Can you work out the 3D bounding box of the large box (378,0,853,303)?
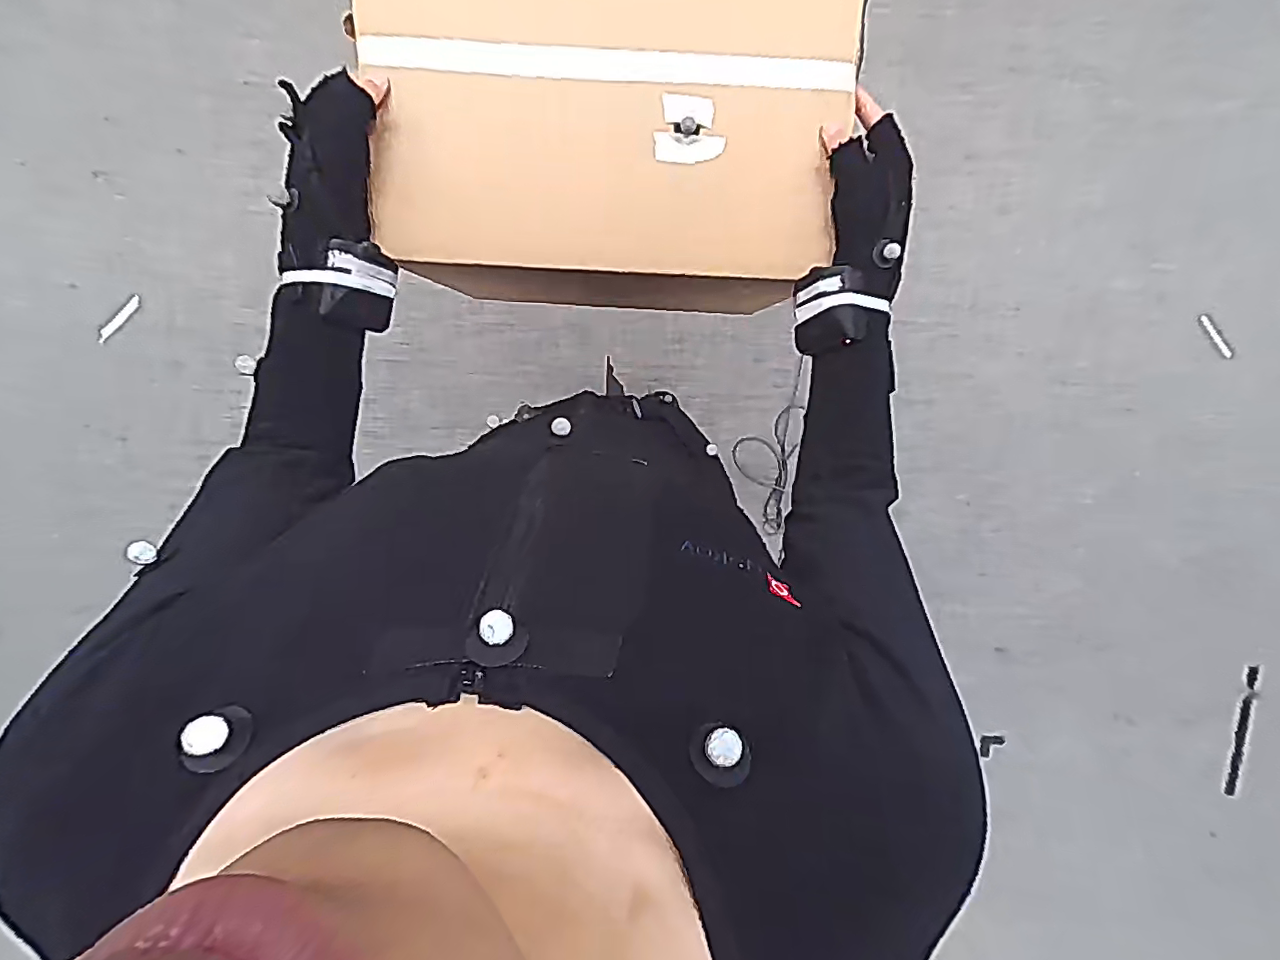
[{"bbox_3d":[-0.026,-0.378,0.607,0.408,0.320,0.320,2,103,-2],"label":"large box"}]
